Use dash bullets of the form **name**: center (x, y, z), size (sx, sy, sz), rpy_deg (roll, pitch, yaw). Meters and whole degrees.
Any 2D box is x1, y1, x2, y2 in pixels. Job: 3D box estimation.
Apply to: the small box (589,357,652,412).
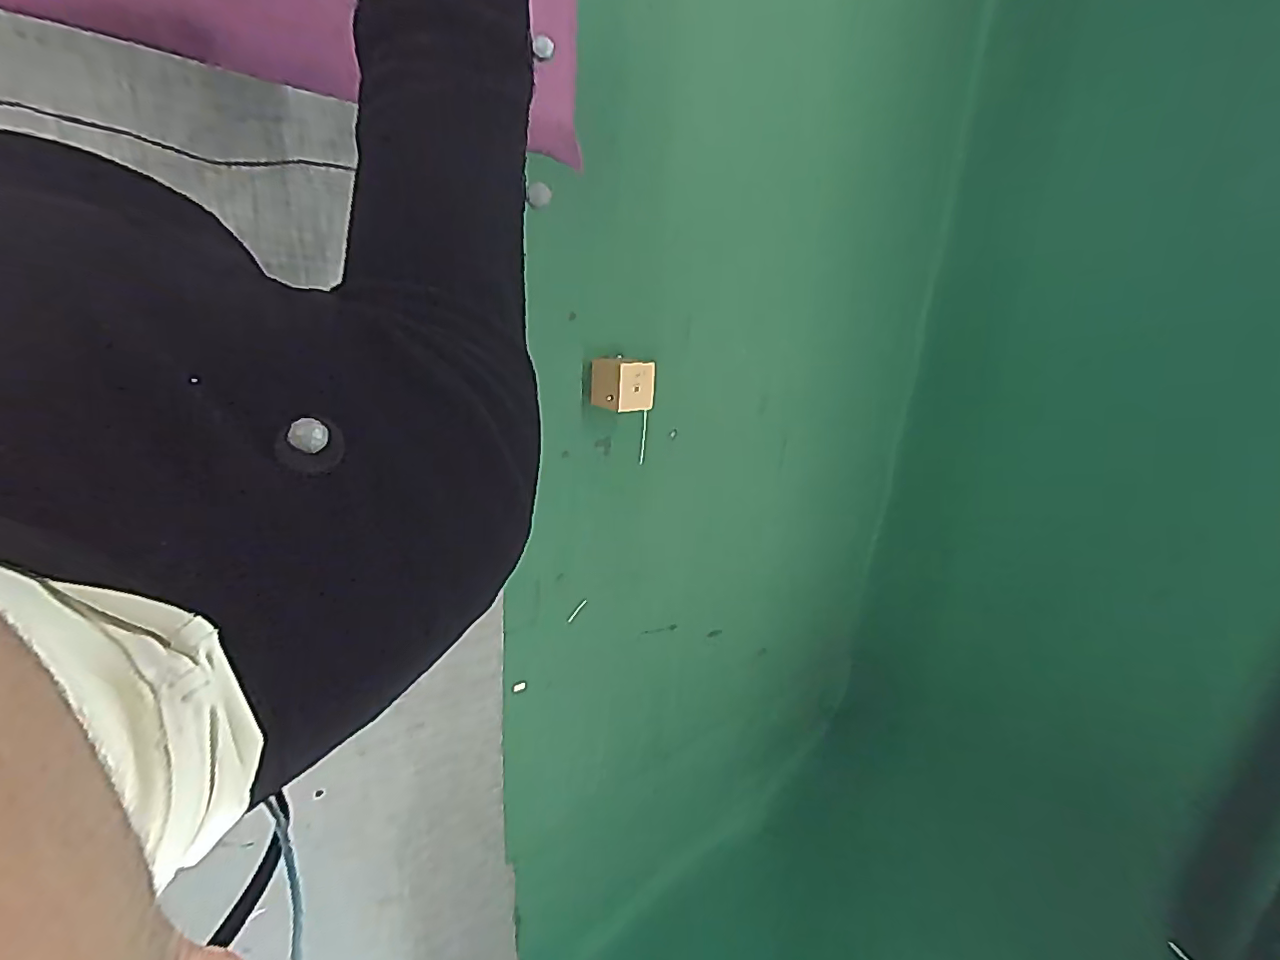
- **small box**: center (-0.076, -0.358, 2.005), size (0.168, 0.176, 0.179), rpy_deg (-11, 113, -40)
